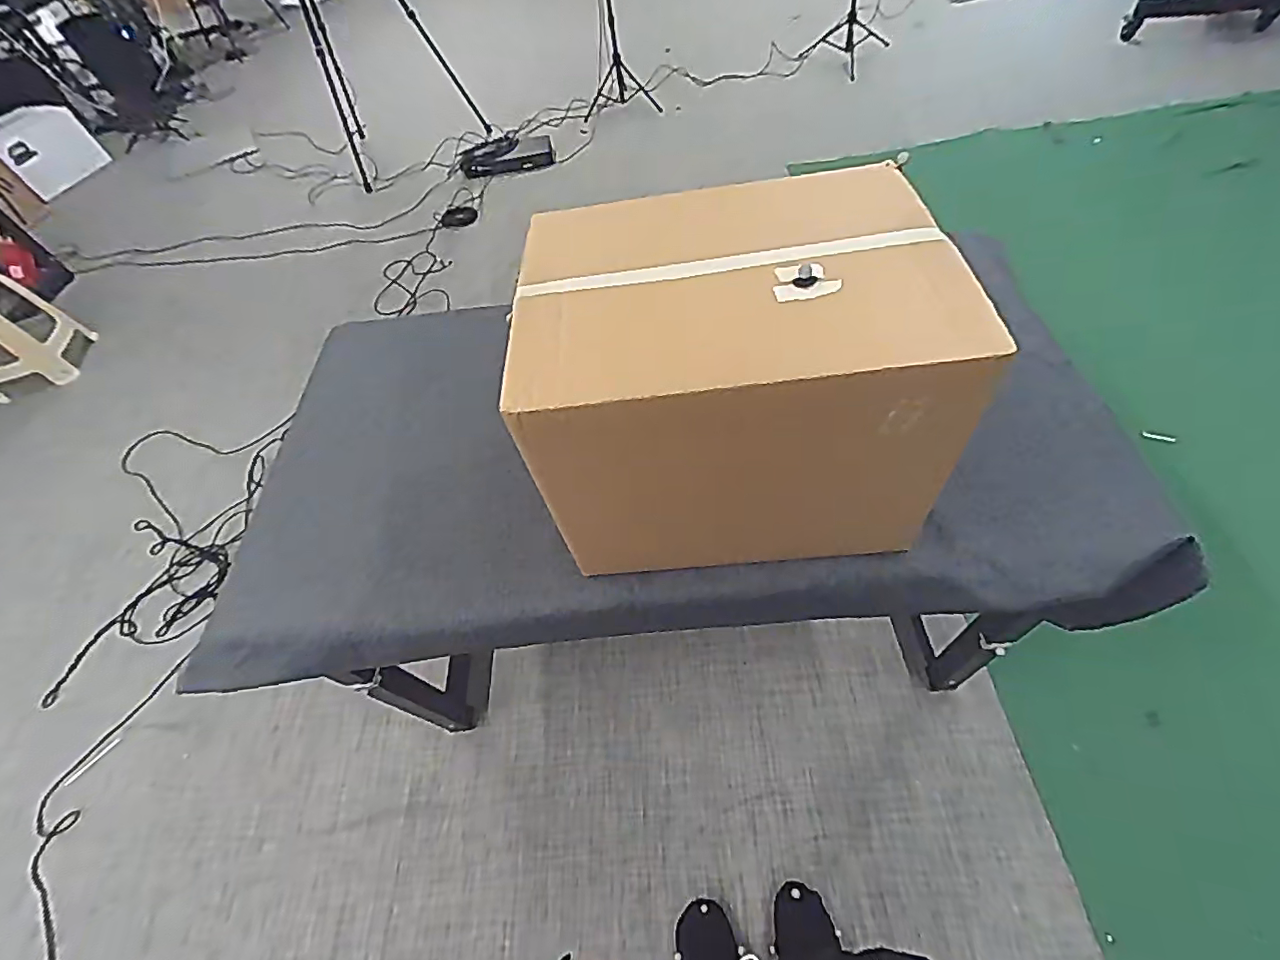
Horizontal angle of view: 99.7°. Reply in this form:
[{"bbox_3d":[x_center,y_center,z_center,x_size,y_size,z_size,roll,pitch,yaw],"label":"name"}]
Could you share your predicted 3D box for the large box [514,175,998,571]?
[{"bbox_3d":[0.100,-0.111,0.646,0.408,0.320,0.320,-6,54,5],"label":"large box"}]
